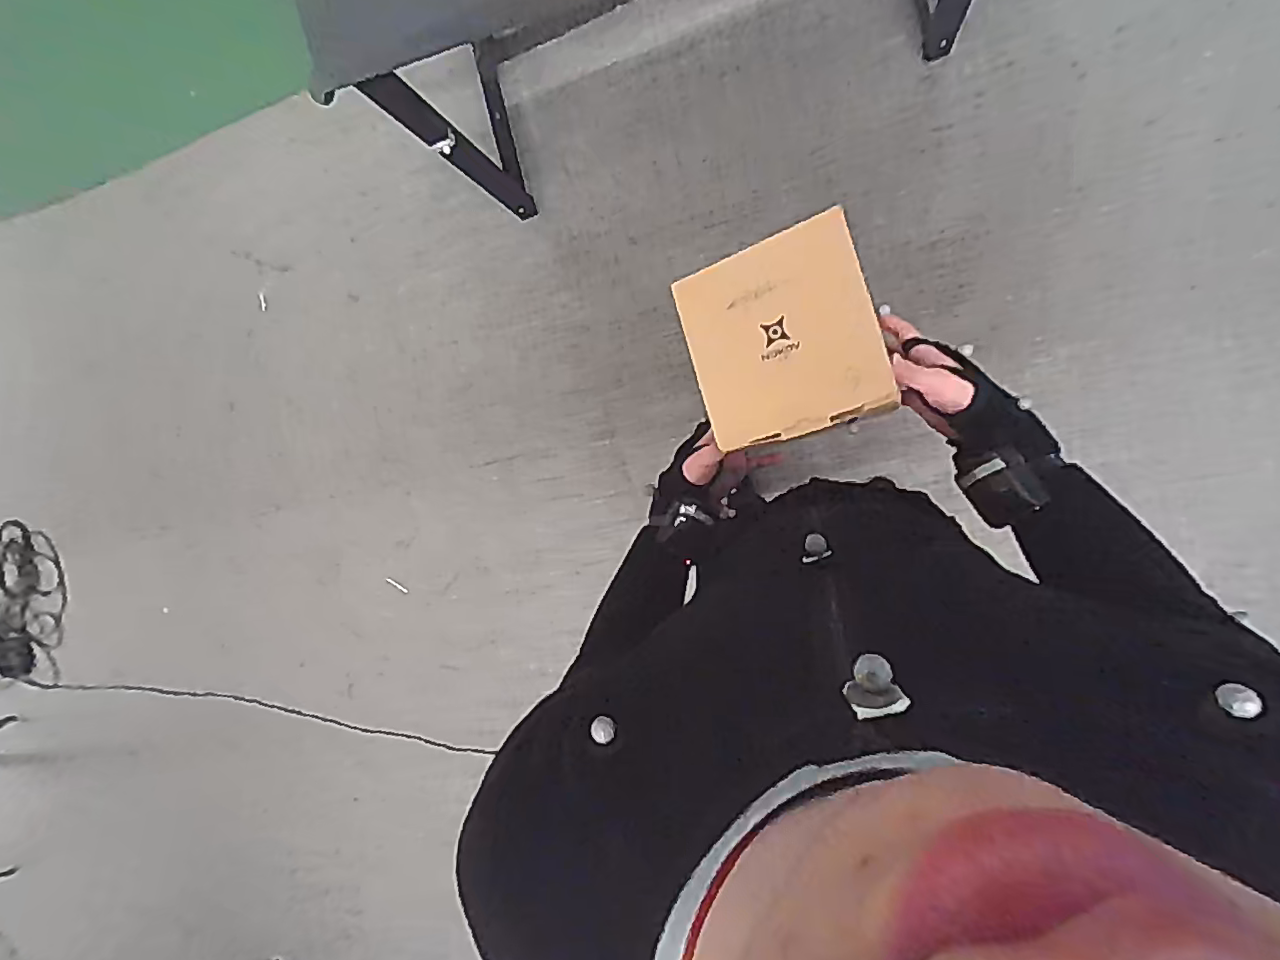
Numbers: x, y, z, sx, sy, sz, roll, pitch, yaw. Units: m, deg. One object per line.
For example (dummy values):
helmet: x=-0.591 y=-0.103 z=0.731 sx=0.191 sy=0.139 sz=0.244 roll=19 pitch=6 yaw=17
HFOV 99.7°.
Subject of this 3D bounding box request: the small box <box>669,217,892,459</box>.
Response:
small box: x=0.154 y=-0.128 z=0.563 sx=0.168 sy=0.176 sz=0.179 roll=-18 pitch=85 yaw=25
